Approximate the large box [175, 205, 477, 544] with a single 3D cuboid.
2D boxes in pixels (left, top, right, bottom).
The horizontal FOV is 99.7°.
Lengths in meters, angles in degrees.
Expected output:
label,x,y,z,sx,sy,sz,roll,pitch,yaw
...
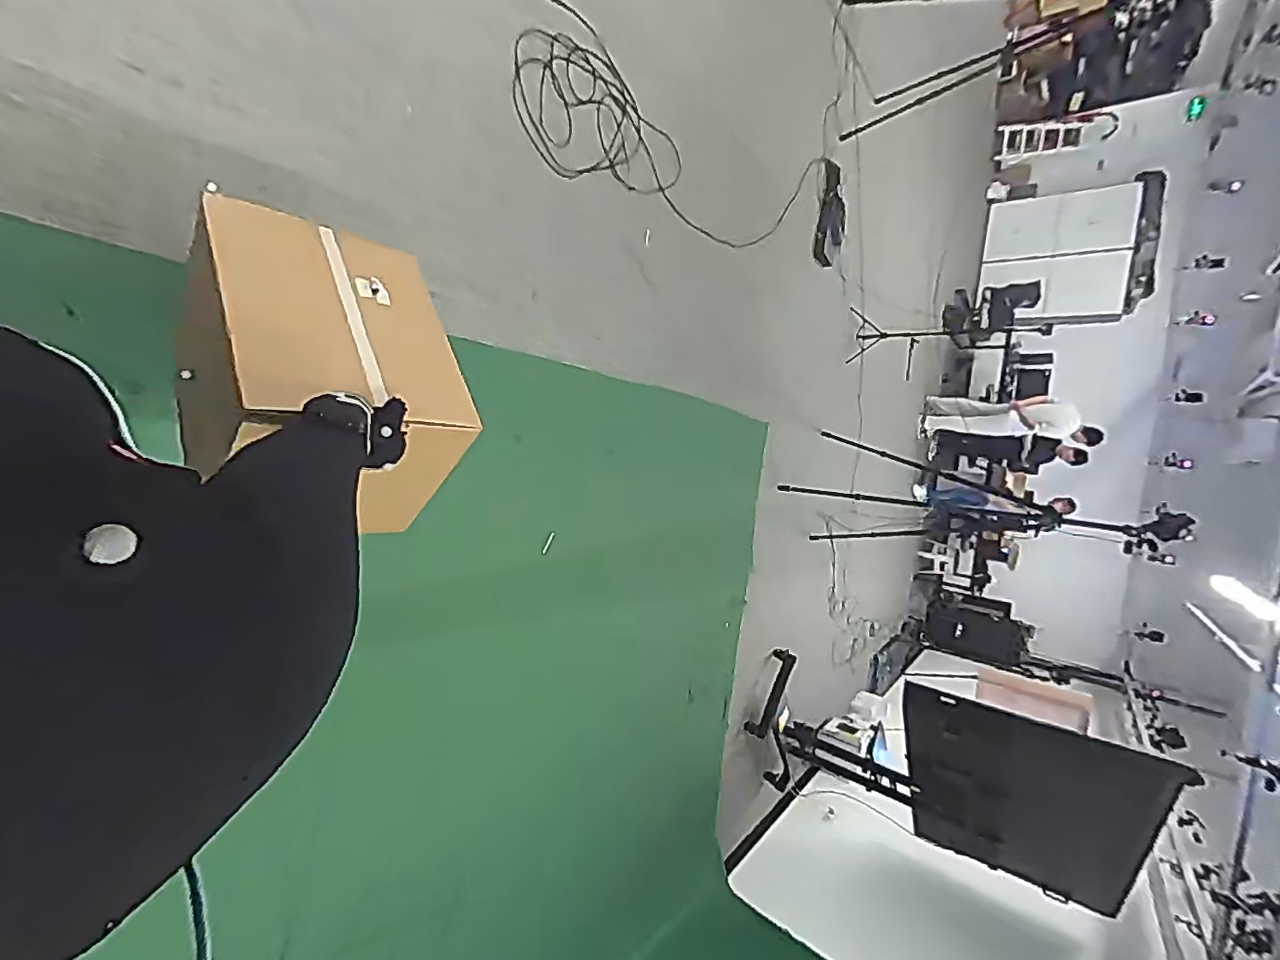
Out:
label,x,y,z,sx,sy,sz,roll,pitch,yaw
large box,-0.534,-0.151,0.899,0.320,0.320,0.408,1,54,-50
